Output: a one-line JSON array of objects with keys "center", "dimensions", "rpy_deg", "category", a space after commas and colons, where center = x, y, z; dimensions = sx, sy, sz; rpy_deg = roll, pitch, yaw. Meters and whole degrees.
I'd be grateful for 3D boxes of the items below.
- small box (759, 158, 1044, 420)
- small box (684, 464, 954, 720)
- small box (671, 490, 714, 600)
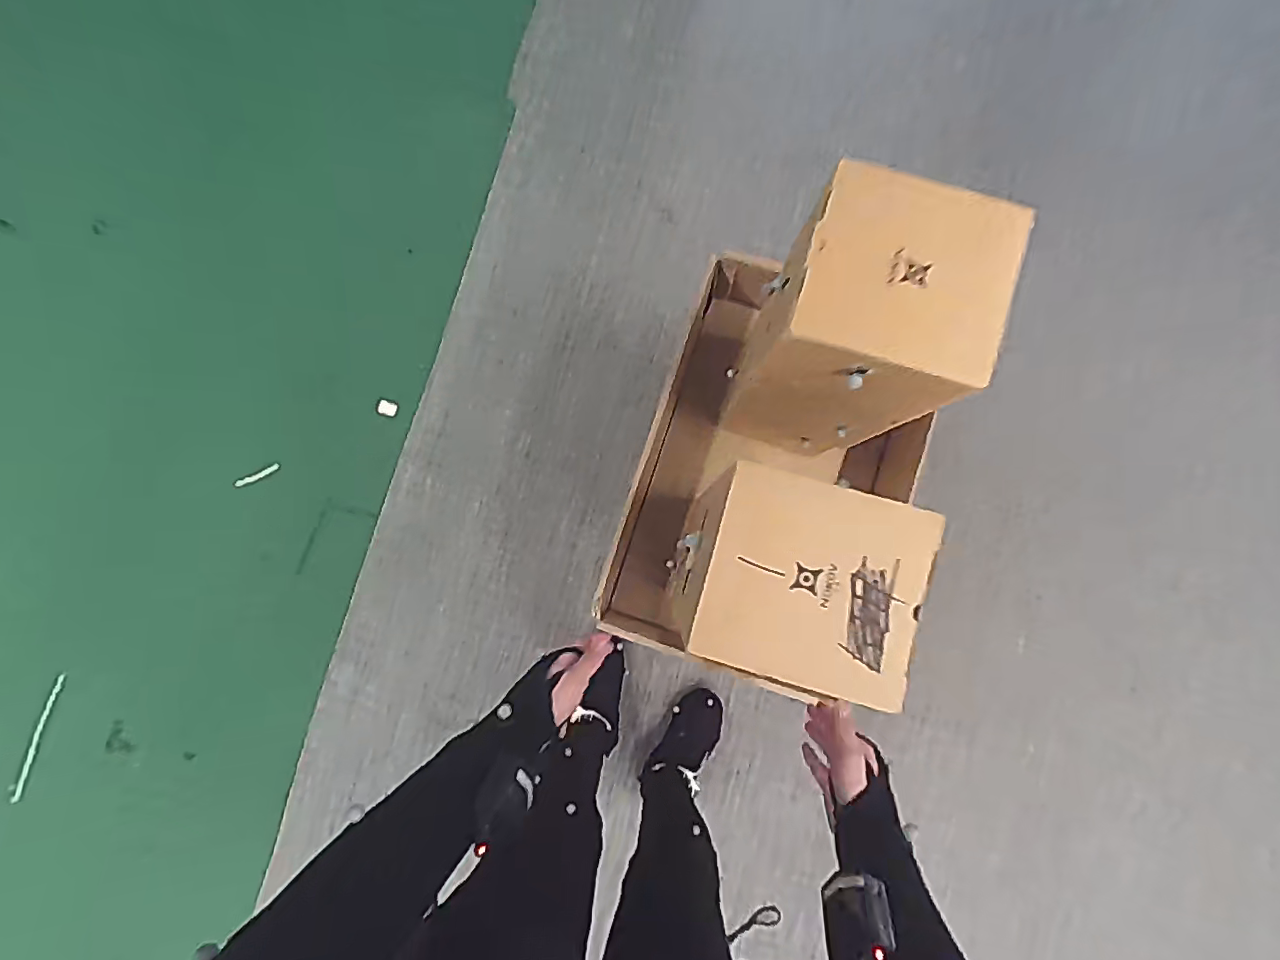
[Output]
[{"center": [0.236, -0.167, 0.533], "dimensions": [0.179, 0.176, 0.168], "rpy_deg": [18, 86, 3], "category": "small box"}, {"center": [0.148, 0.093, 0.508], "dimensions": [0.179, 0.176, 0.168], "rpy_deg": [16, 85, 4], "category": "small box"}, {"center": [0.153, 0.127, 0.835], "dimensions": [0.179, 0.176, 0.168], "rpy_deg": [20, 85, 2], "category": "small box"}]
